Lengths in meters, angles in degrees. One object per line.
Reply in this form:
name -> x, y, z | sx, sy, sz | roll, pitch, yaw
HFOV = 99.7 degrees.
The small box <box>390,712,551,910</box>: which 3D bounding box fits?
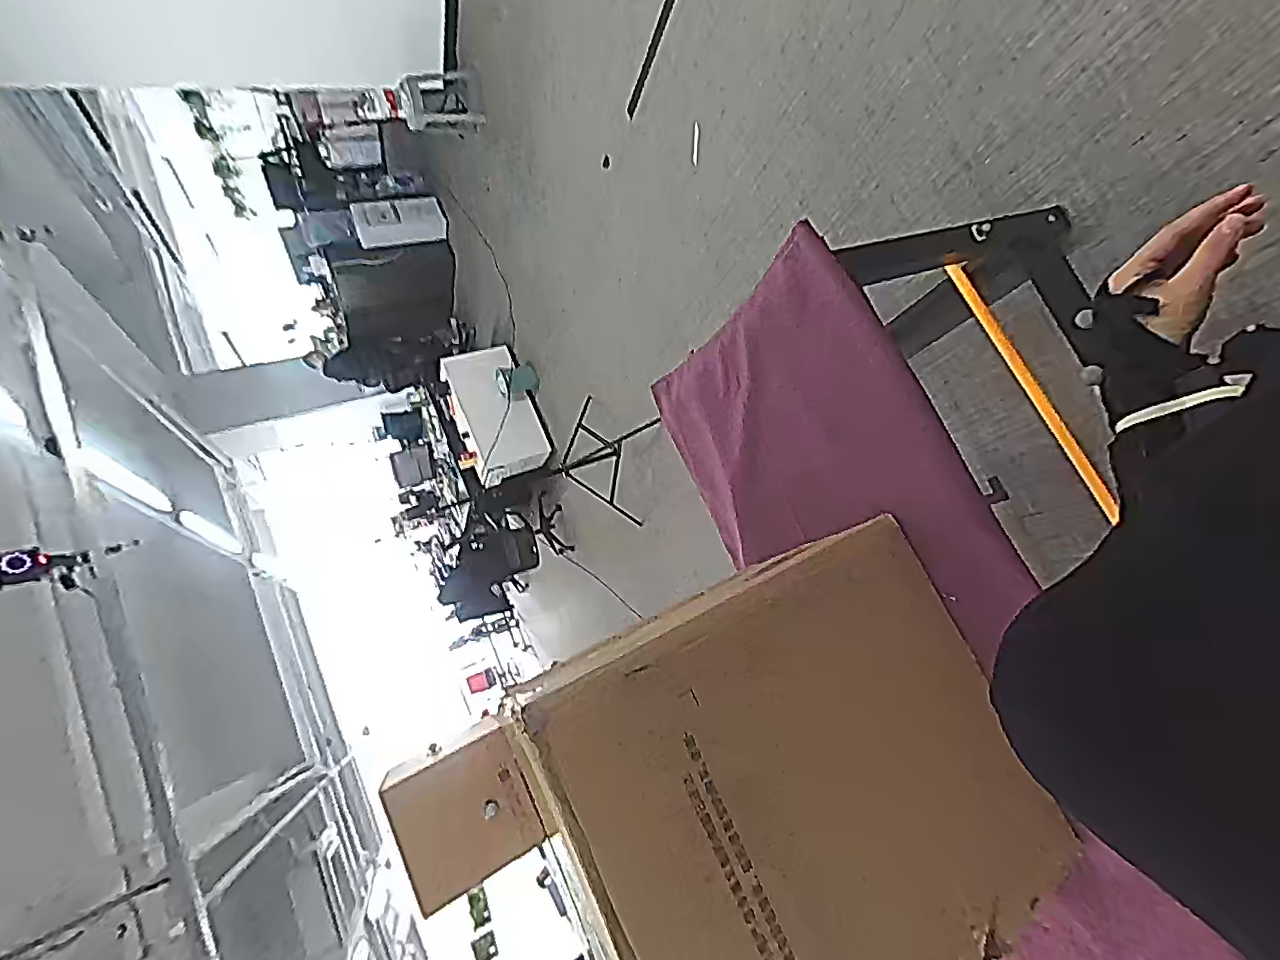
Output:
small box -> -0.244, 0.460, 0.788 | 0.168, 0.176, 0.179 | 65, 154, 8
